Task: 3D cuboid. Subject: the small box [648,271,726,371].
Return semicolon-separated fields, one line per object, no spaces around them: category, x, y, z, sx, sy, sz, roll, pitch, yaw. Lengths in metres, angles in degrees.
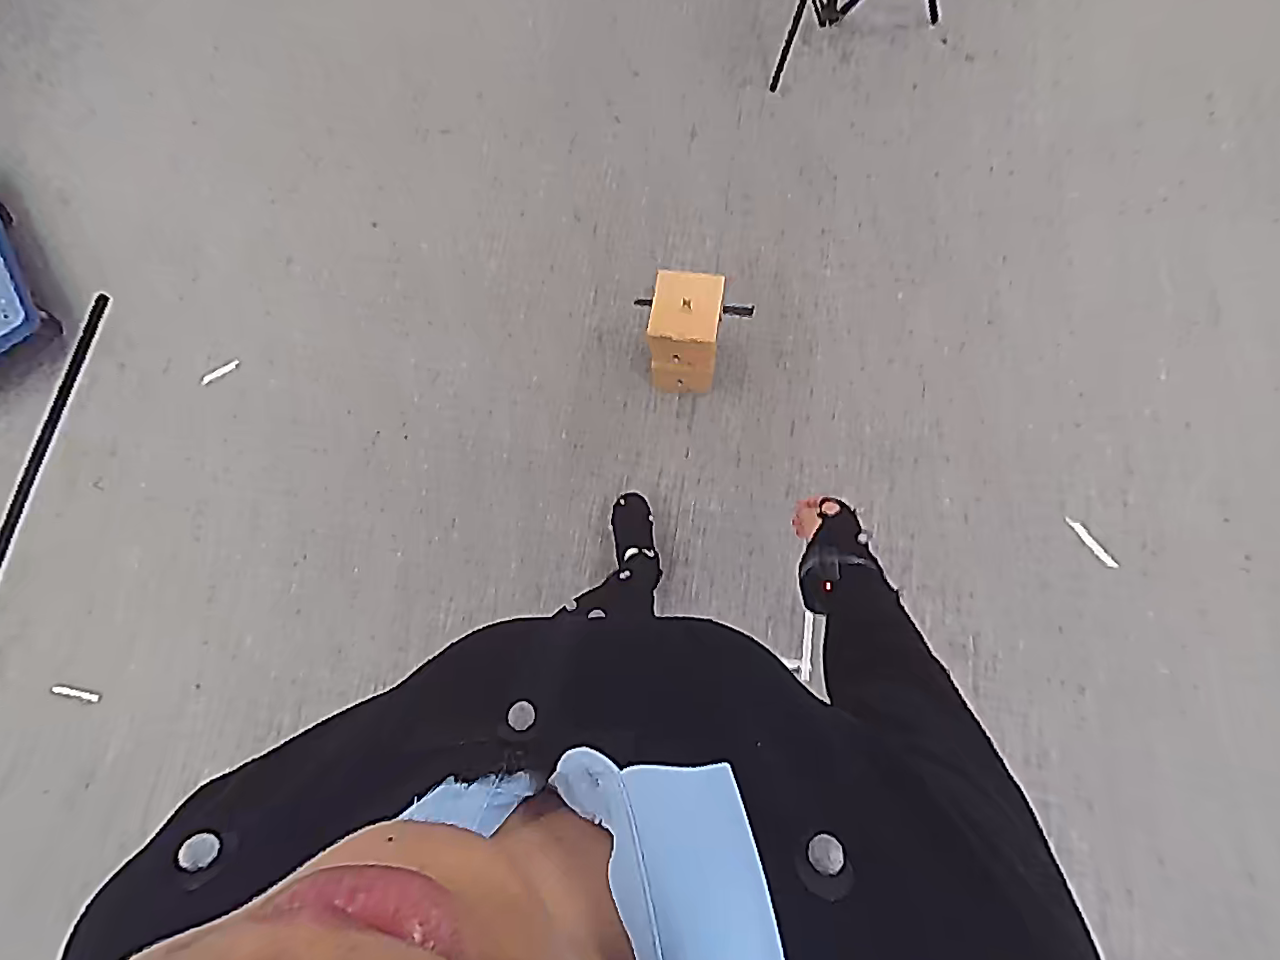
small box;0.118;-0.398;1.370;0.168;0.176;0.179;9;79;7

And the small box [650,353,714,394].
small box;0.127;-0.355;1.528;0.168;0.176;0.179;7;78;6
